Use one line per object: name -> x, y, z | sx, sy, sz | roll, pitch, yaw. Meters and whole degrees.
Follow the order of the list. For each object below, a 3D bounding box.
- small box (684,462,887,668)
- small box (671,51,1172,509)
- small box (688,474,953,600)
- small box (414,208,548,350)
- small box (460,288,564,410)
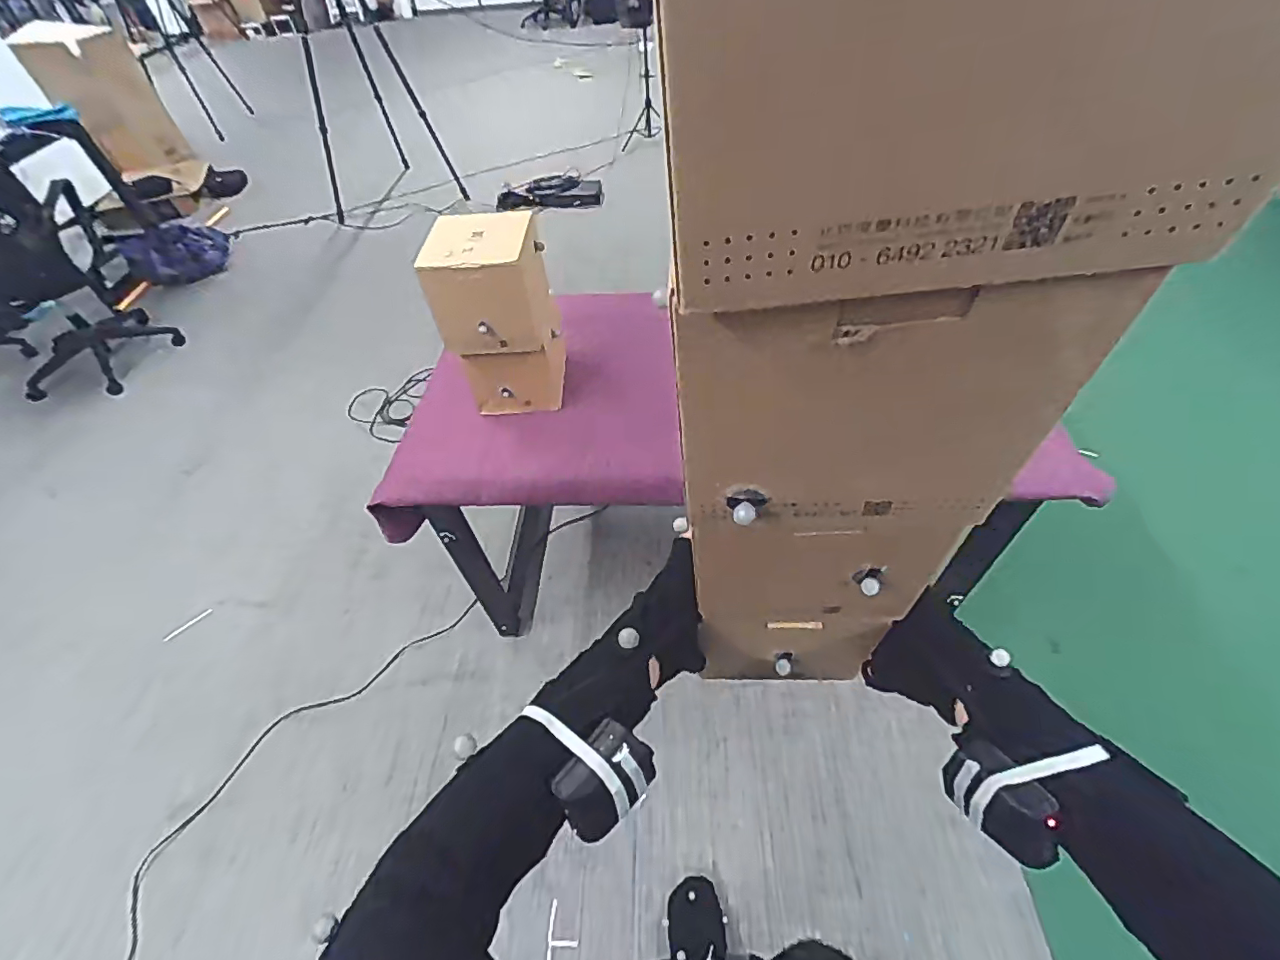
small box -> 0.137, 0.090, 0.567 | 0.168, 0.176, 0.179 | -5, 54, 6
small box -> 0.106, -0.095, 0.296 | 0.168, 0.176, 0.179 | -1, 54, 6
small box -> 0.124, -0.016, 0.419 | 0.168, 0.176, 0.179 | -2, 54, 6
small box -> -0.259, -0.345, 0.933 | 0.168, 0.176, 0.179 | -2, 51, 3
small box -> -0.248, -0.259, 1.075 | 0.168, 0.176, 0.179 | -3, 51, 1
